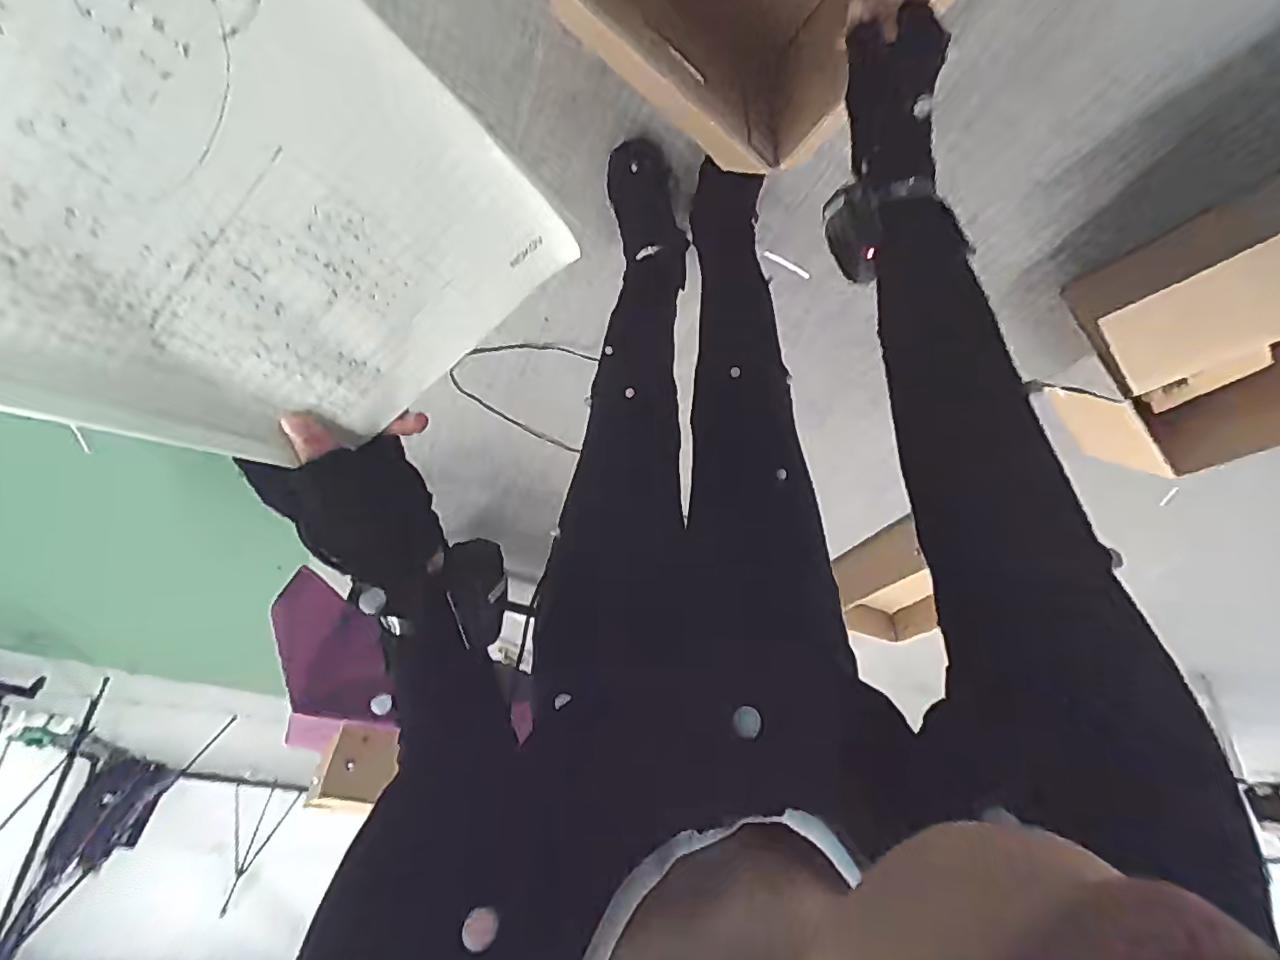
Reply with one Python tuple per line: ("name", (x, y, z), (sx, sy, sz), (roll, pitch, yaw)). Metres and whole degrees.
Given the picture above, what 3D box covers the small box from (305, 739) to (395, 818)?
("small box", (-0.815, 0.846, 1.532), (0.168, 0.176, 0.179), (25, 138, -25))
